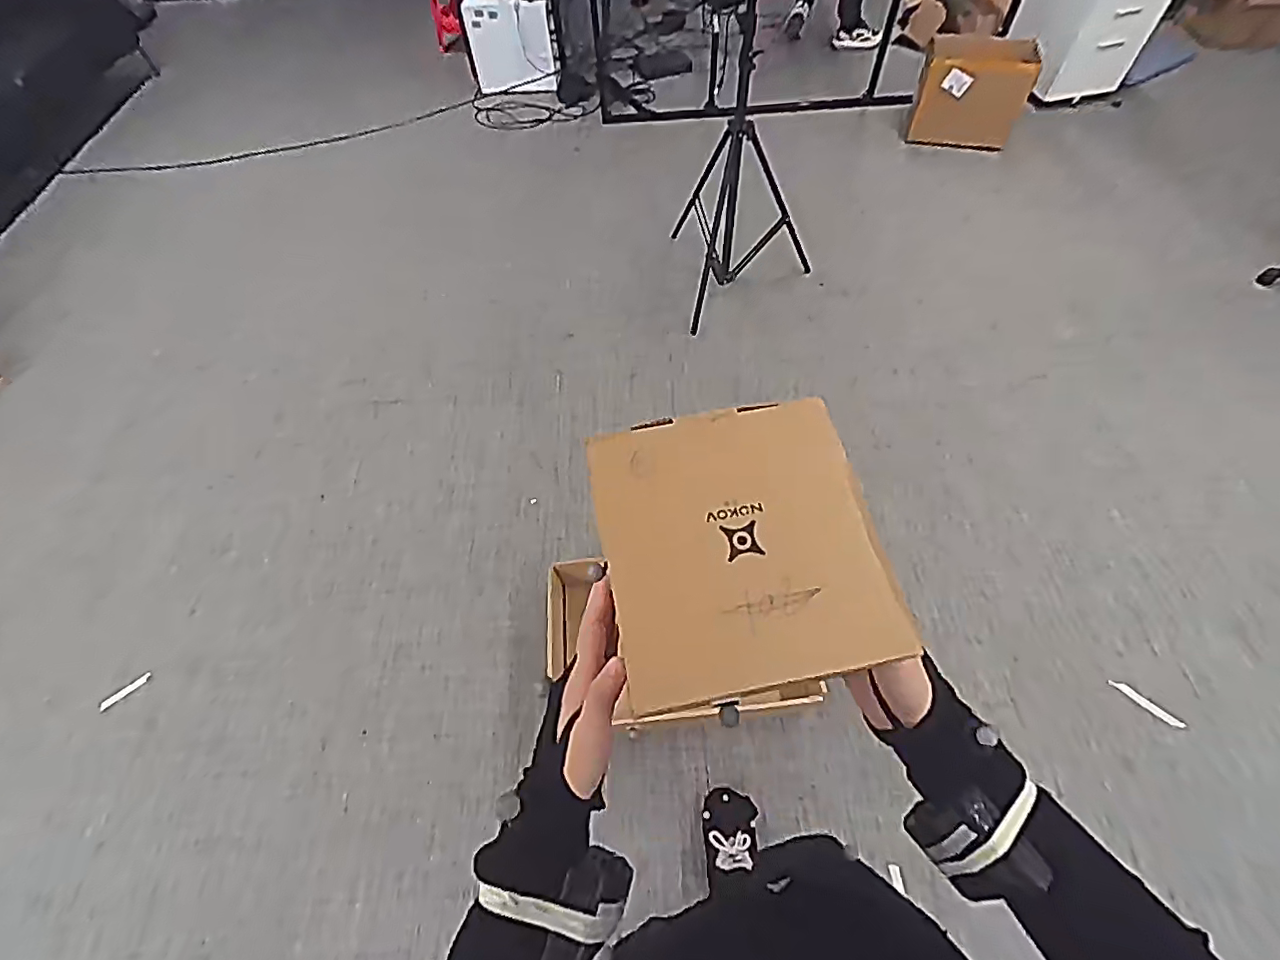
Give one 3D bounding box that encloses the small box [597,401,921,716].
[{"bbox_3d":[0.063,0.068,0.406,0.168,0.176,0.179,-11,66,-5],"label":"small box"}]
